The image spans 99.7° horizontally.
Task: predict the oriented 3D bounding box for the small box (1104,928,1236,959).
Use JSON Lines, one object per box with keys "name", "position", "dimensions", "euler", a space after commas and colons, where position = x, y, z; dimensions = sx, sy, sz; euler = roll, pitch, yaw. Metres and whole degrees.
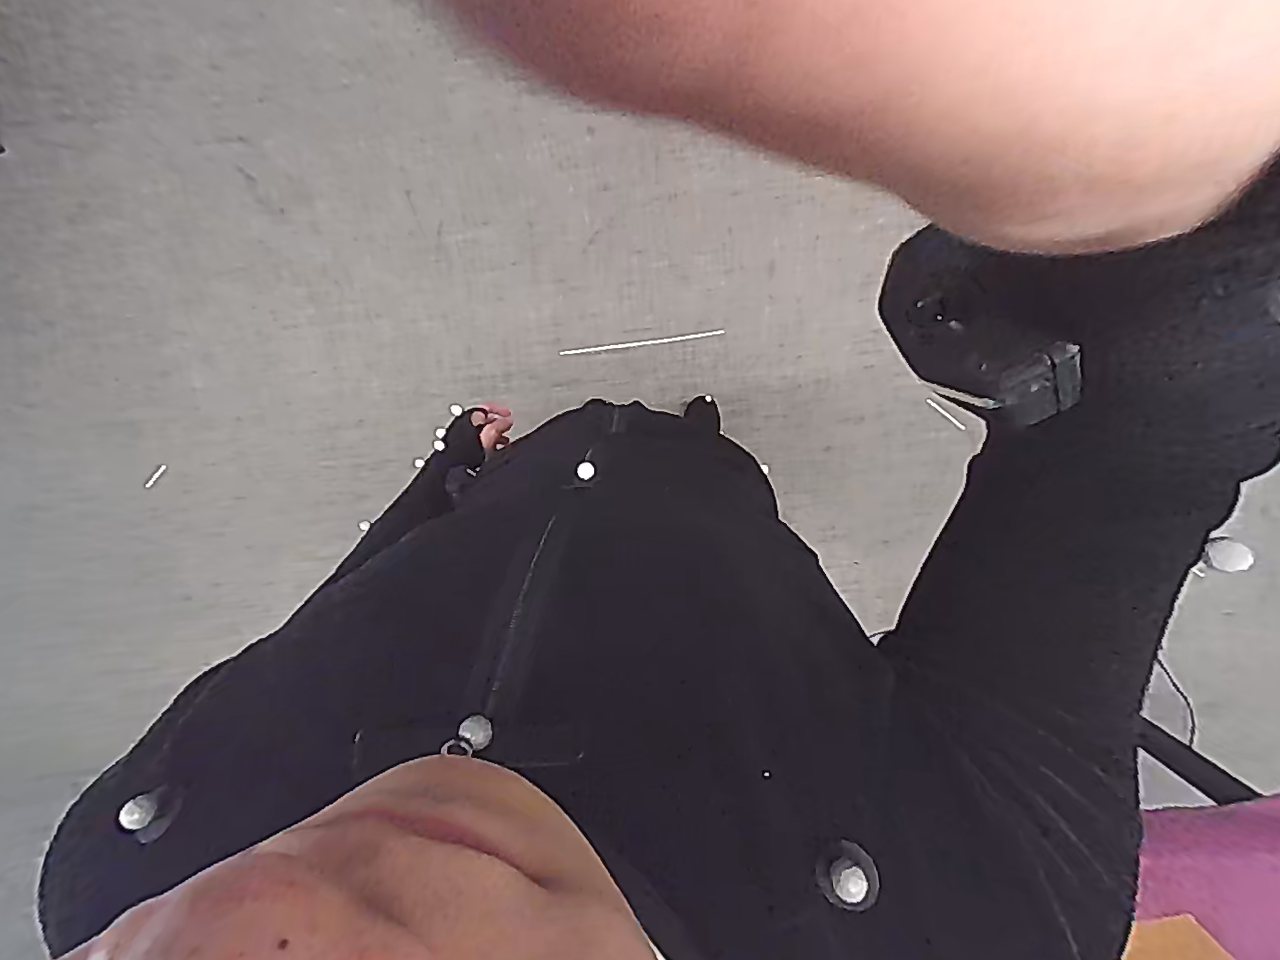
{"name": "small box", "position": [0.931, 0.893, 0.897], "dimensions": [0.179, 0.176, 0.168], "euler": [-12, 98, 4]}
